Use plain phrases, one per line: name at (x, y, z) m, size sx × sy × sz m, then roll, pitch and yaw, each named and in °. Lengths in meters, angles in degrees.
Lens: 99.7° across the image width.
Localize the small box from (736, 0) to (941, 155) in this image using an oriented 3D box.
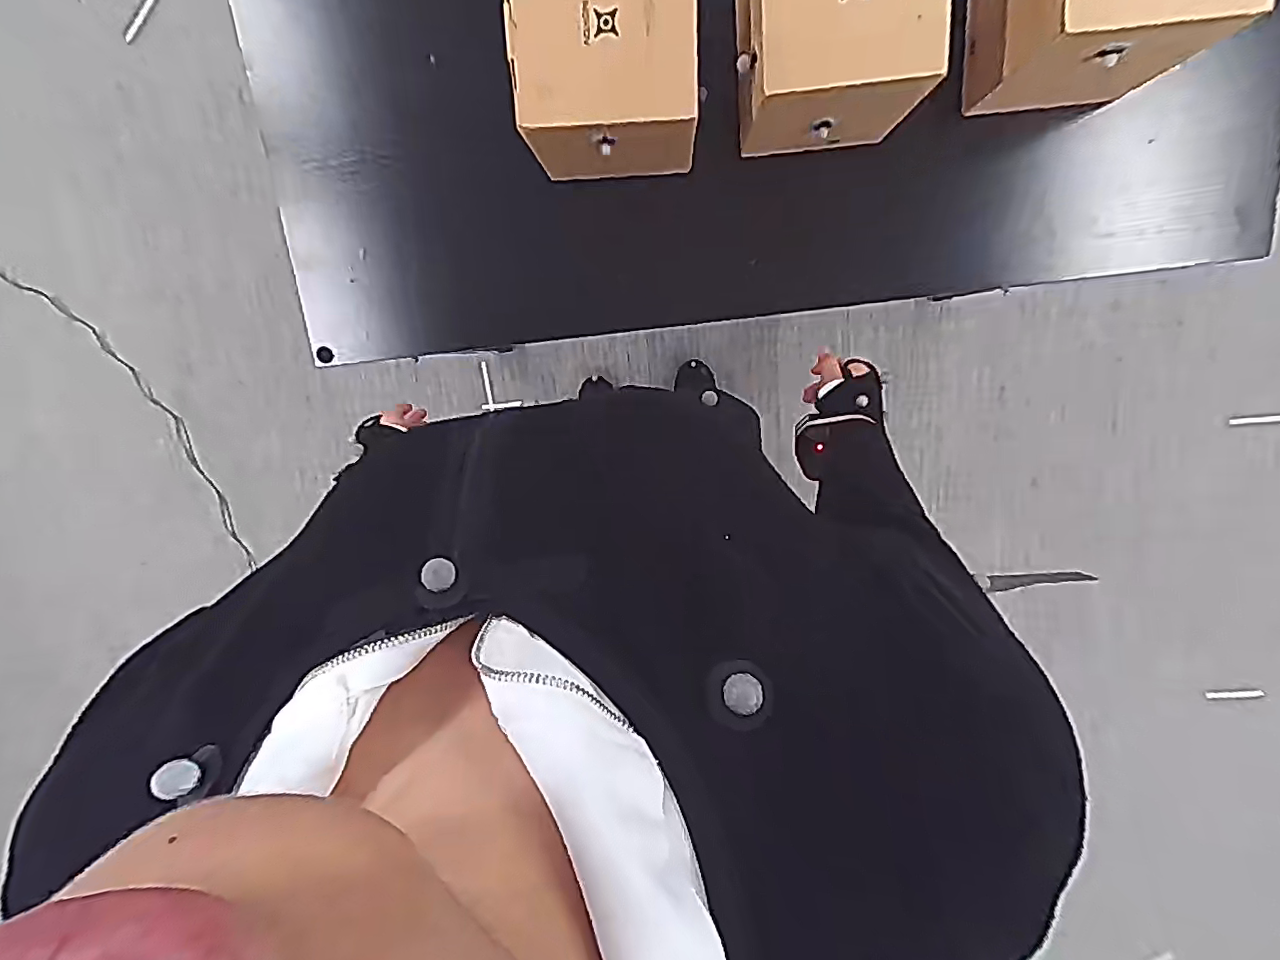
small box at (0.194, -0.463, 0.566) m, size 0.168 × 0.176 × 0.179 m, roll -4°, pitch 102°, yaw 4°

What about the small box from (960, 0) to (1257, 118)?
small box at (0.453, -0.493, 0.544) m, size 0.179 × 0.176 × 0.168 m, roll -3°, pitch 103°, yaw 3°
